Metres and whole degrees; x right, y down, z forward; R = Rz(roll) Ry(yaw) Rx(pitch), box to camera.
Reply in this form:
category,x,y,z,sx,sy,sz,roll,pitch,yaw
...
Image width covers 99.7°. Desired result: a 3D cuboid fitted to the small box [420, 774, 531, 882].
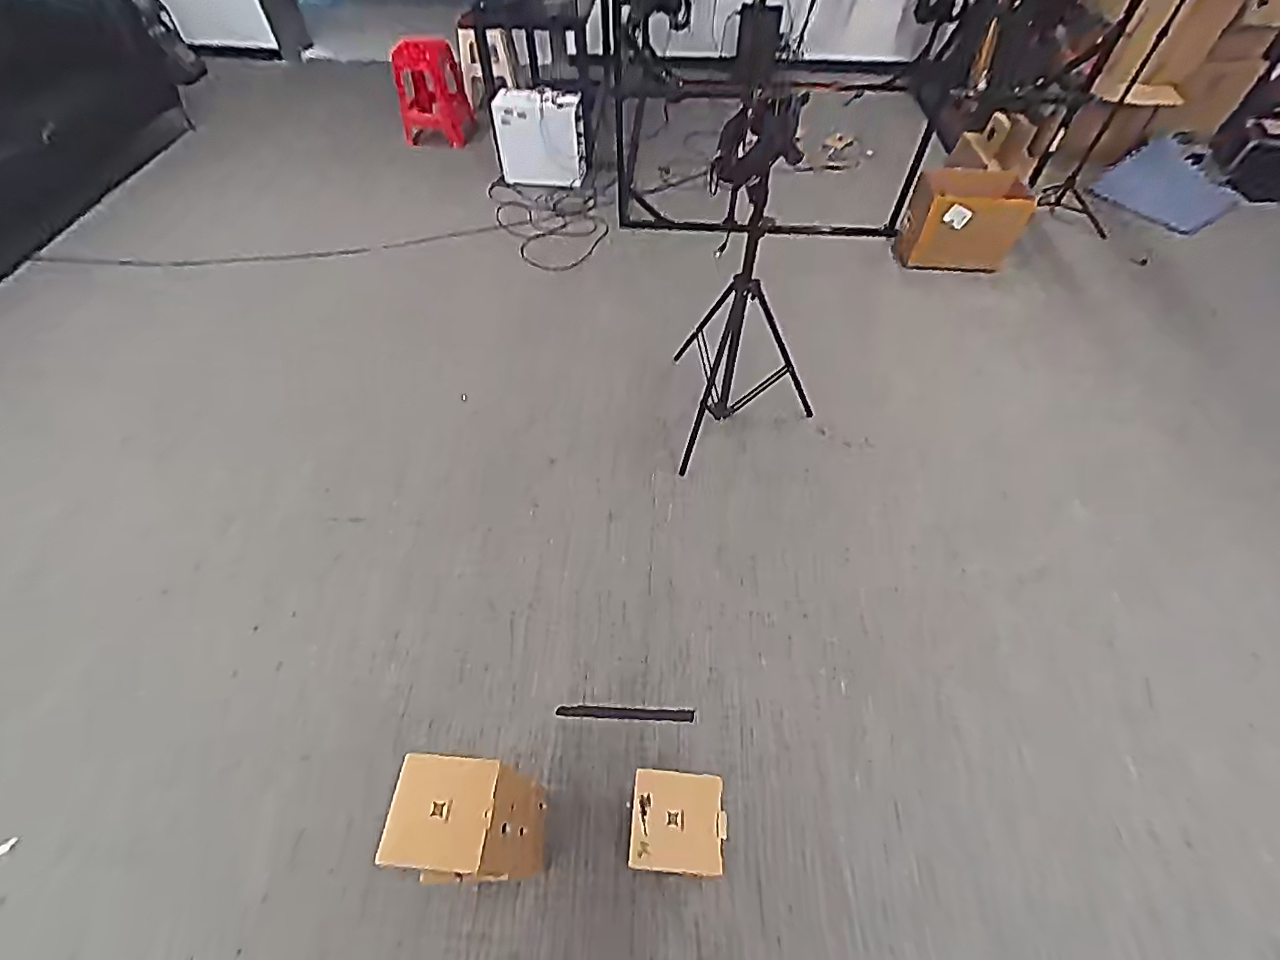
category,x,y,z,sx,sy,sz,roll,pitch,yaw
small box,-0.322,0.708,1.099,0.168,0.176,0.179,-1,54,0

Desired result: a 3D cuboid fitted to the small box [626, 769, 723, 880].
category,x,y,z,sx,sy,sz,roll,pitch,yaw
small box,0.068,0.703,1.102,0.179,0.176,0.168,5,54,2

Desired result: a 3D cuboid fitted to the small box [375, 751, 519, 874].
category,x,y,z,sx,sy,sz,roll,pitch,yaw
small box,-0.334,0.602,0.975,0.179,0.176,0.168,3,54,3

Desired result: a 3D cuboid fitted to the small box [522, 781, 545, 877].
category,x,y,z,sx,sy,sz,roll,pitch,yaw
small box,-0.314,0.800,1.234,0.168,0.176,0.179,-2,54,-1
